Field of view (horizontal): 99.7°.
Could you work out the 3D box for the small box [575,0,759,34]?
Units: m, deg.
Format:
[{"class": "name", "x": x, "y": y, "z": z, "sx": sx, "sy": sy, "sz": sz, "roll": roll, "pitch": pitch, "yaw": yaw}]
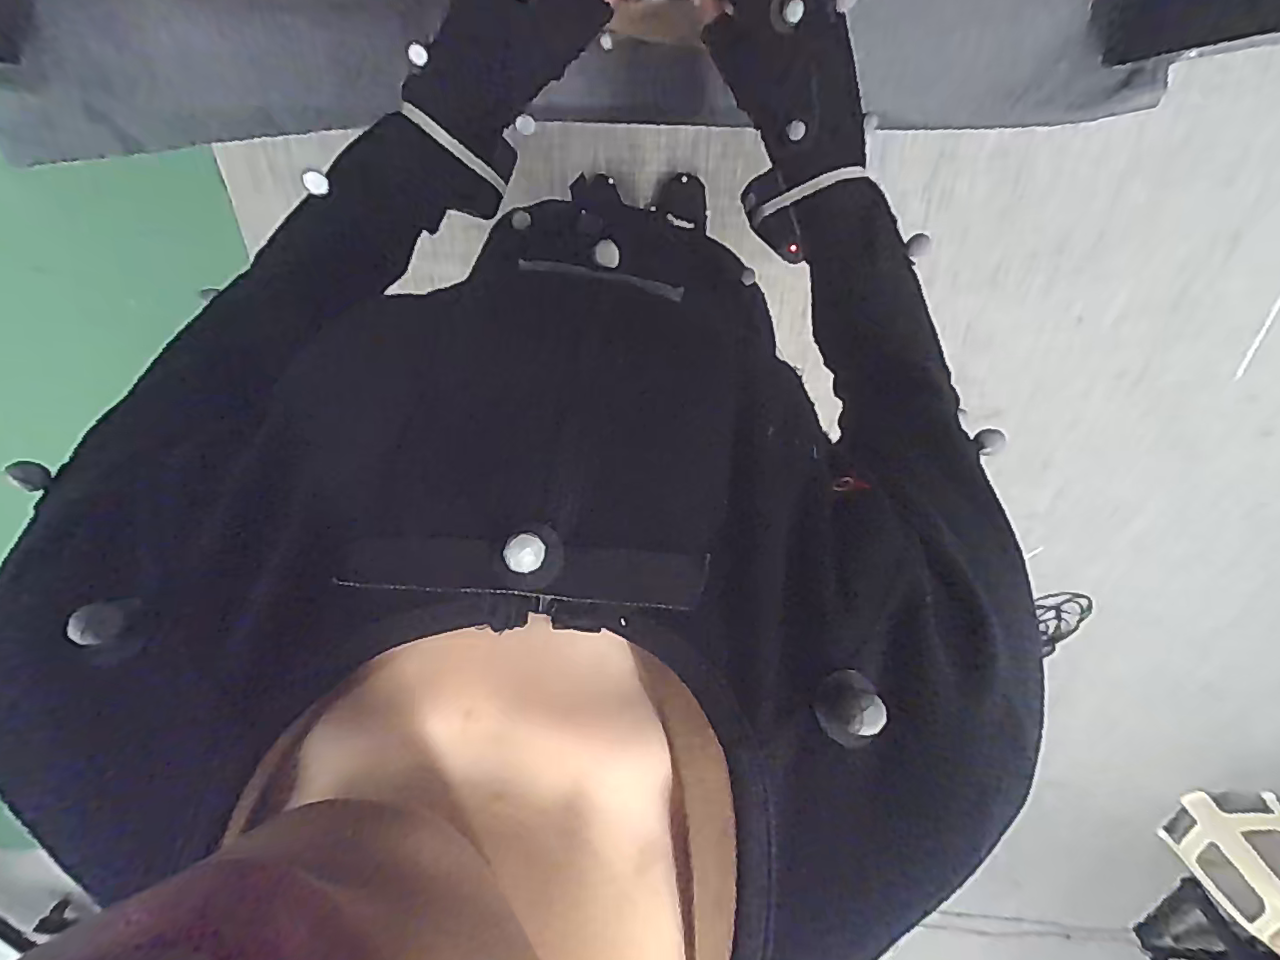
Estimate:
[{"class": "small box", "x": 0.026, "y": -0.467, "z": 0.408, "sx": 0.168, "sy": 0.176, "sz": 0.179, "roll": 5, "pitch": 119, "yaw": -1}]
